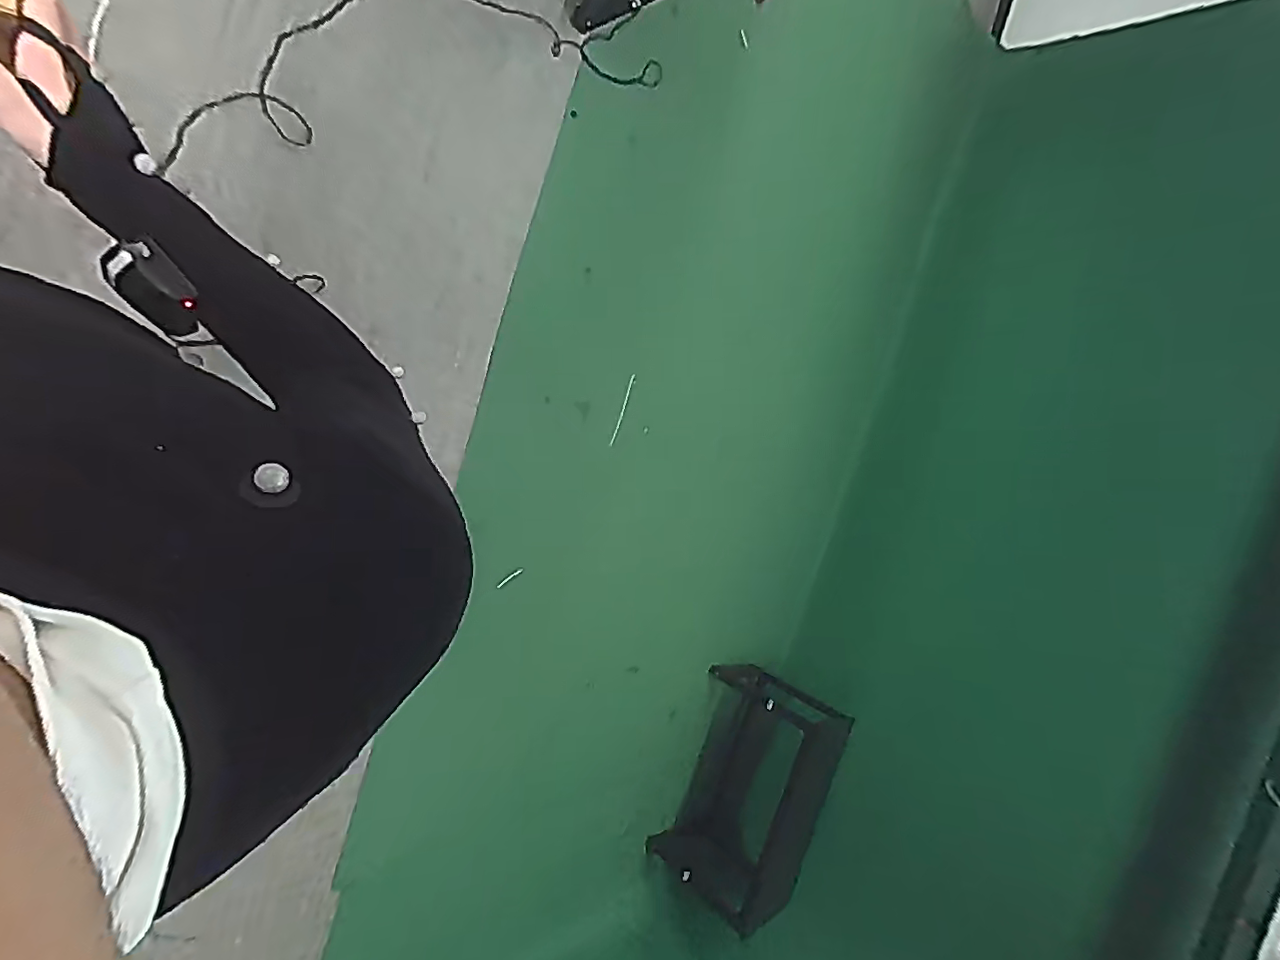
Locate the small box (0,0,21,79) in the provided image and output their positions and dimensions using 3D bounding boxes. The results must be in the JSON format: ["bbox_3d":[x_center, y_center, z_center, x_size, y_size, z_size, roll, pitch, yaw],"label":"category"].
[{"bbox_3d":[-0.561,-0.435,0.375,0.168,0.176,0.179,-5,100,-48],"label":"small box"}]
